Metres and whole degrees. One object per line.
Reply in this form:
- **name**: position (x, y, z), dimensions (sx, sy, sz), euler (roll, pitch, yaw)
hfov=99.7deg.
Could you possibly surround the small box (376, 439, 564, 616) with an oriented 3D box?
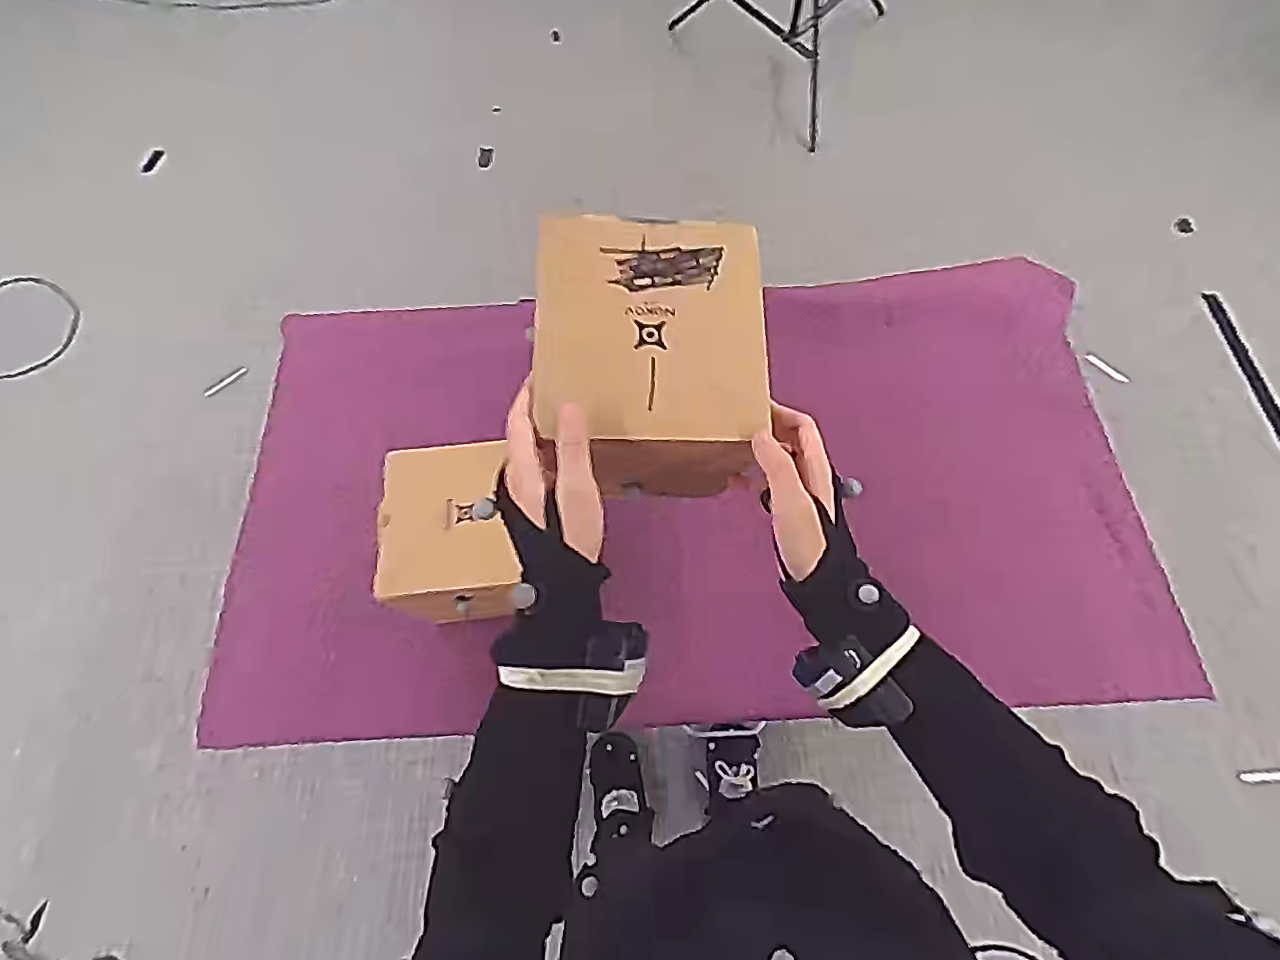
- **small box**: position (-0.188, 0.065, 0.653), dimensions (0.179, 0.176, 0.168), euler (-6, 68, 0)

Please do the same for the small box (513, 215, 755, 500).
- **small box**: position (-0.010, -0.088, 0.458), dimensions (0.168, 0.176, 0.179), euler (1, 76, -5)
